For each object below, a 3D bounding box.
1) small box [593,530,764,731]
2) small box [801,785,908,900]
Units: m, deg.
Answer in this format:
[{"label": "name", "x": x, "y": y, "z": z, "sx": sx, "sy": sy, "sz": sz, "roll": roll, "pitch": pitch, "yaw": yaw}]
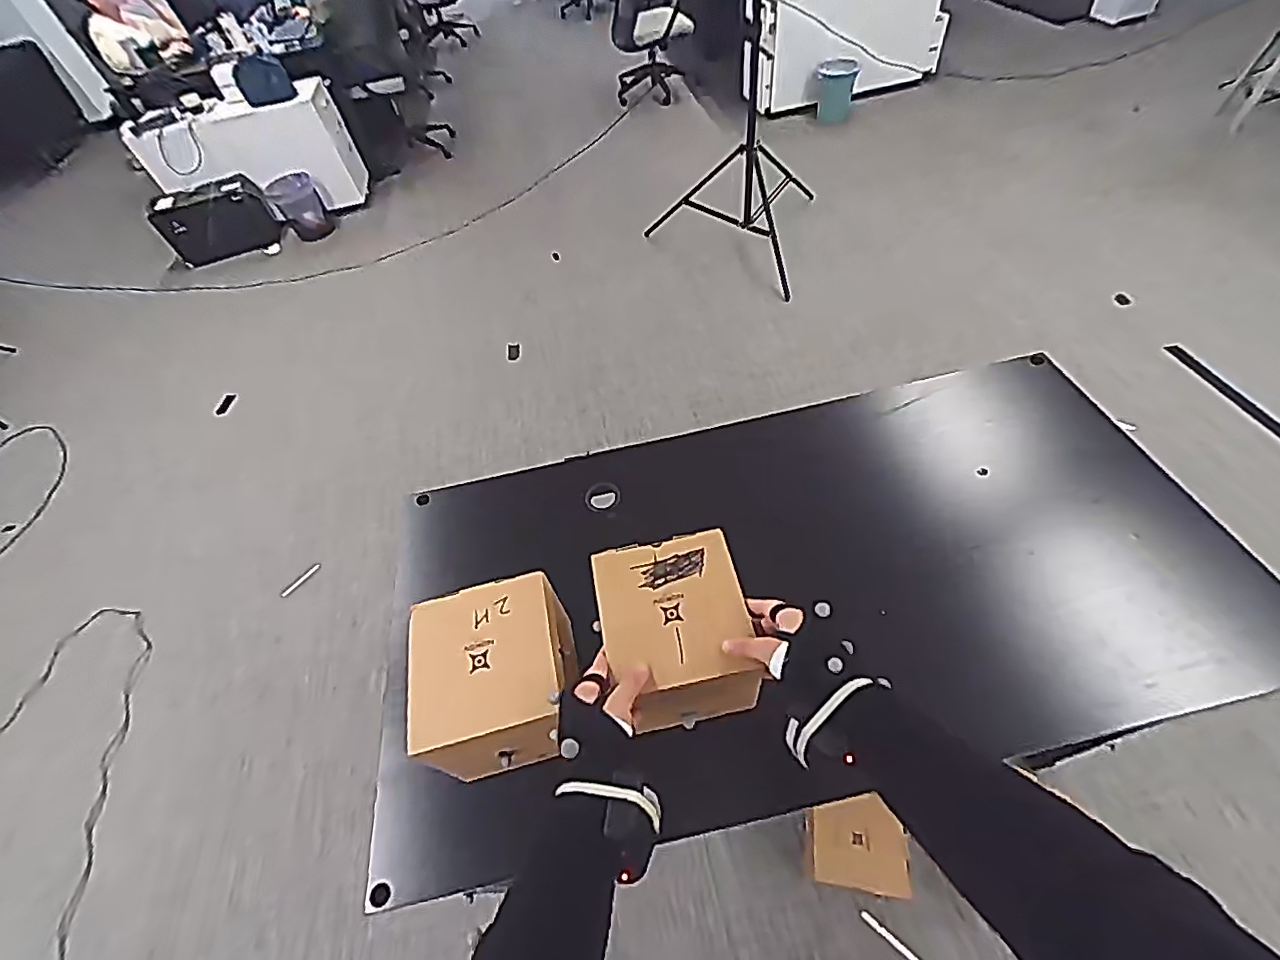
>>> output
[{"label": "small box", "x": 0.042, "y": 0.190, "z": 0.672, "sx": 0.168, "sy": 0.176, "sz": 0.179, "roll": -11, "pitch": 54, "yaw": -2}, {"label": "small box", "x": 0.437, "y": 0.754, "z": 1.126, "sx": 0.179, "sy": 0.176, "sz": 0.168, "roll": 3, "pitch": 53, "yaw": 12}]
